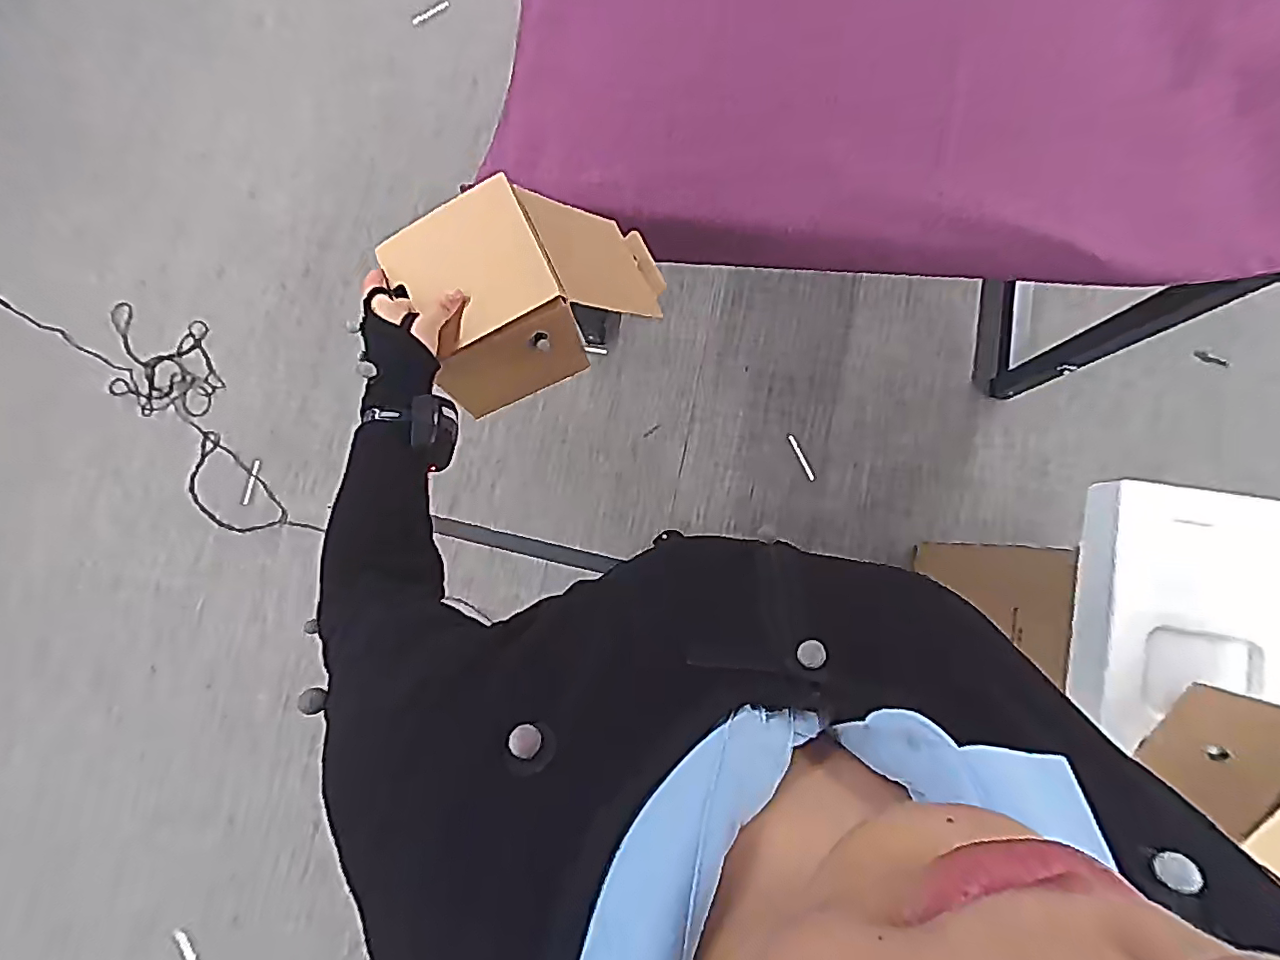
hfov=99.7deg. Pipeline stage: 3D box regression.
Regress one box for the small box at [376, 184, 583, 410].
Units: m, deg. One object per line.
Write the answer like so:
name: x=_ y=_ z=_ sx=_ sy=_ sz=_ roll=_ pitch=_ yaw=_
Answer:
small box: x=-0.181 y=-0.212 z=0.668 sx=0.179 sy=0.176 sz=0.168 roll=-25 pitch=77 yaw=-1
